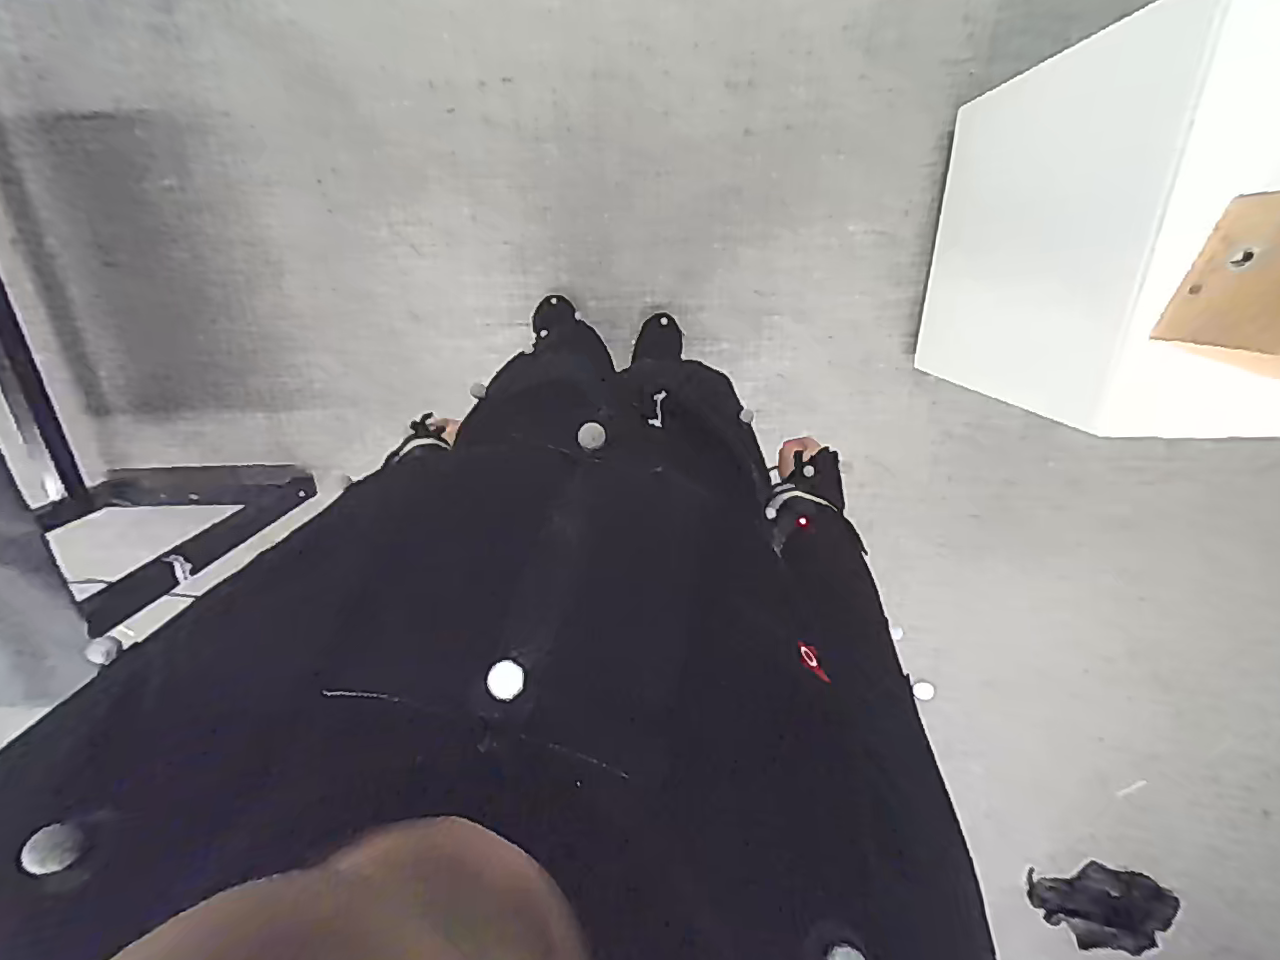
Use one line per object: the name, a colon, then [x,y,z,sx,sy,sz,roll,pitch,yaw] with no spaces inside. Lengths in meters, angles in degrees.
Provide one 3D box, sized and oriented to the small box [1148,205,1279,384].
small box: [0.730,-0.192,0.580,0.179,0.176,0.168,15,111,-4]
